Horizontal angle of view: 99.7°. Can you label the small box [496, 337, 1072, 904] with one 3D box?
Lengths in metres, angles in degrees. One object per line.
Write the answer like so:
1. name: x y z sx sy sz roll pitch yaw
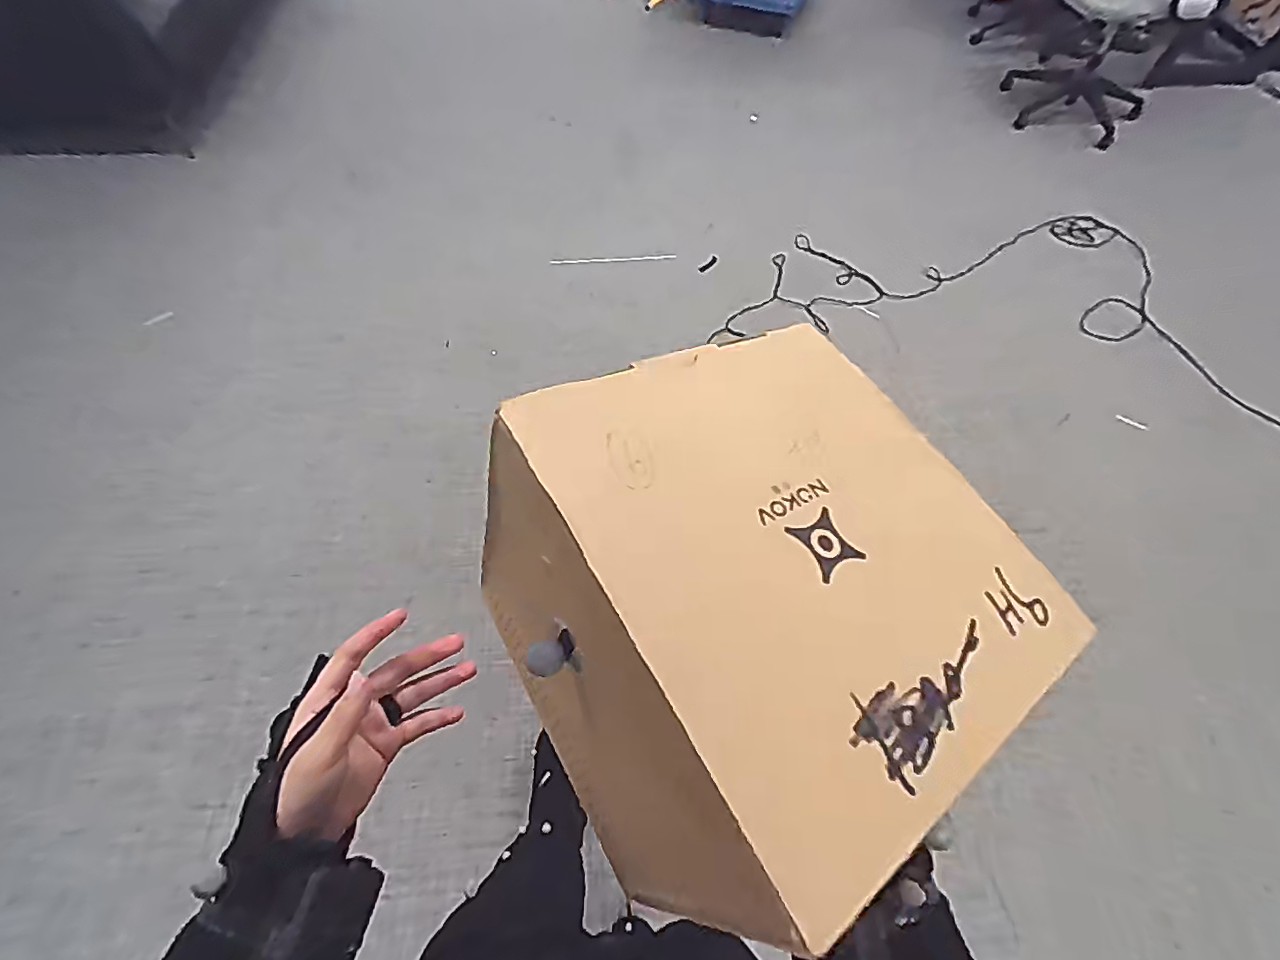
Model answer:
1. small box: 0.039 0.063 0.267 0.168 0.176 0.179 -23 66 -29
